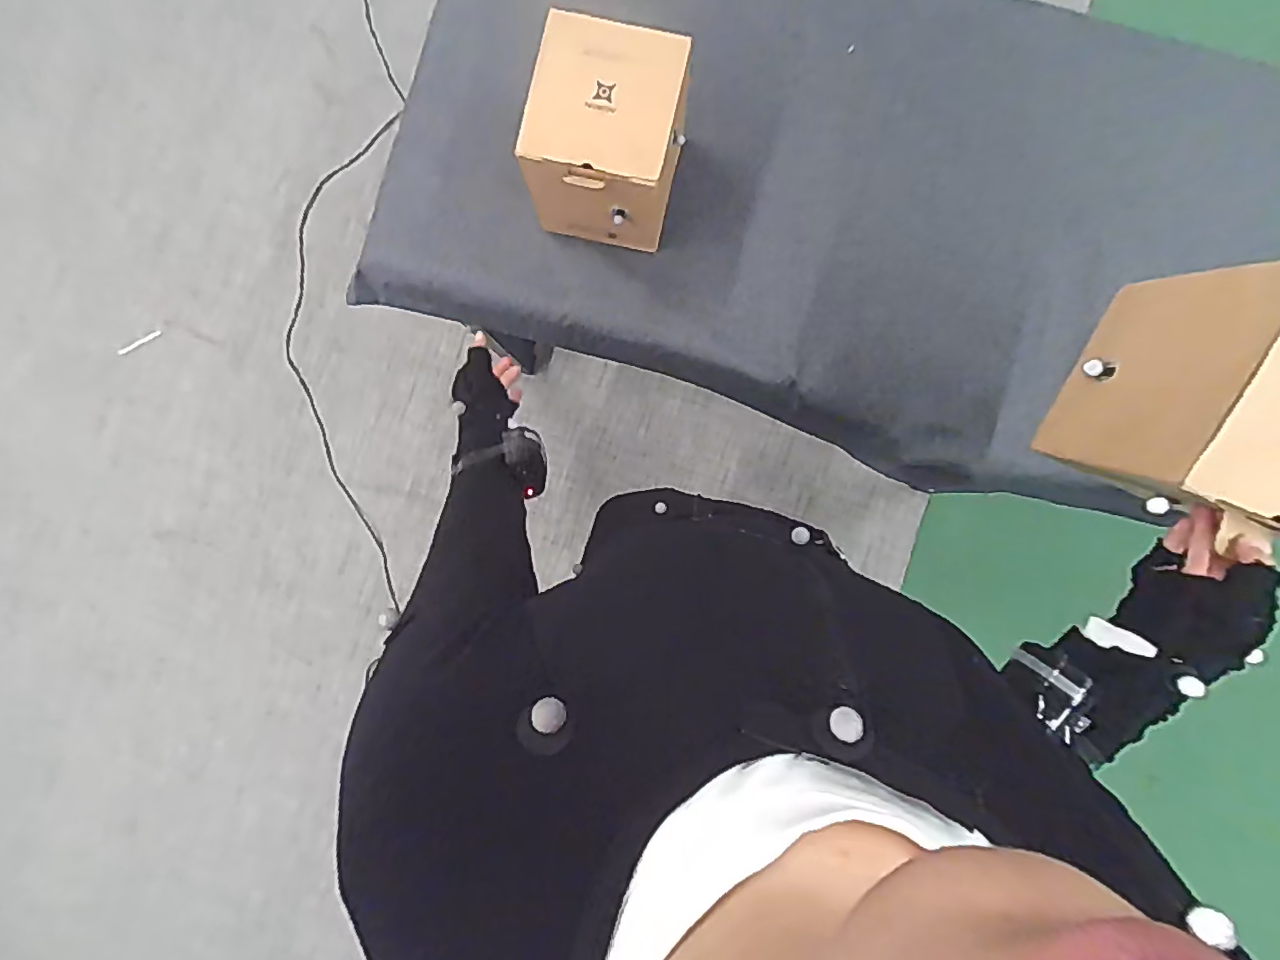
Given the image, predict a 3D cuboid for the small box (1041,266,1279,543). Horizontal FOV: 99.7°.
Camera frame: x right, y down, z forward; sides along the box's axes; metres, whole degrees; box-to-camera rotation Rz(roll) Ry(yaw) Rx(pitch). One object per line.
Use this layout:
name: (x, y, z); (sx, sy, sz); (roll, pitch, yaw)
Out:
small box: (0.502, -0.061, 0.467); (0.168, 0.176, 0.179); (21, 104, -4)

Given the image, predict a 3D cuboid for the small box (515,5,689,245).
small box: (-0.042, -0.424, 0.677); (0.168, 0.176, 0.179); (12, 87, 0)
